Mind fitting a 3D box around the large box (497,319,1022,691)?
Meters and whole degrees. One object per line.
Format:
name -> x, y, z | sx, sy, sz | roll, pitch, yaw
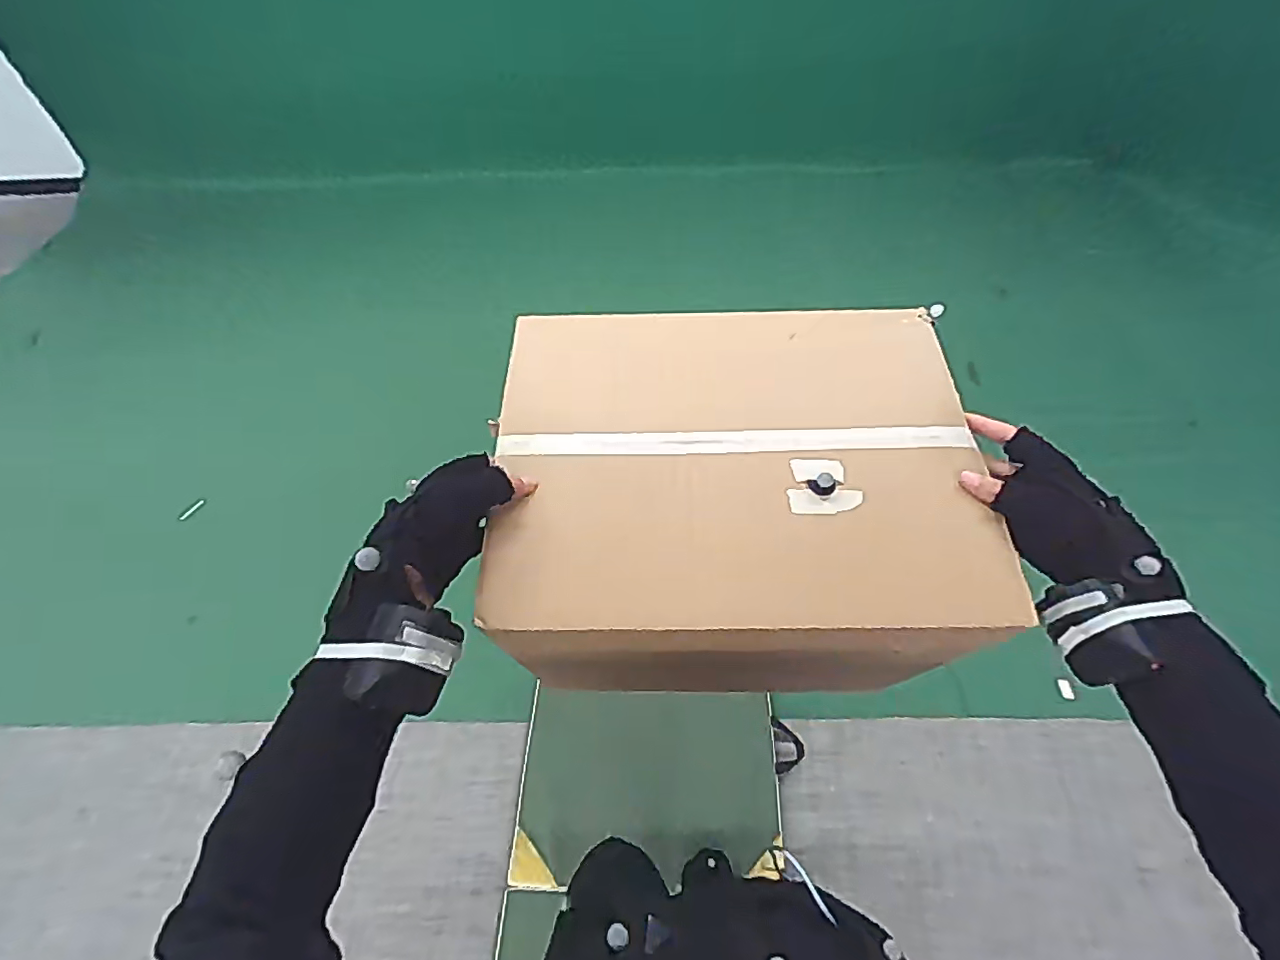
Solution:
large box -> 0.088, 0.046, 0.604 | 0.408, 0.320, 0.320 | 0, 61, 1
